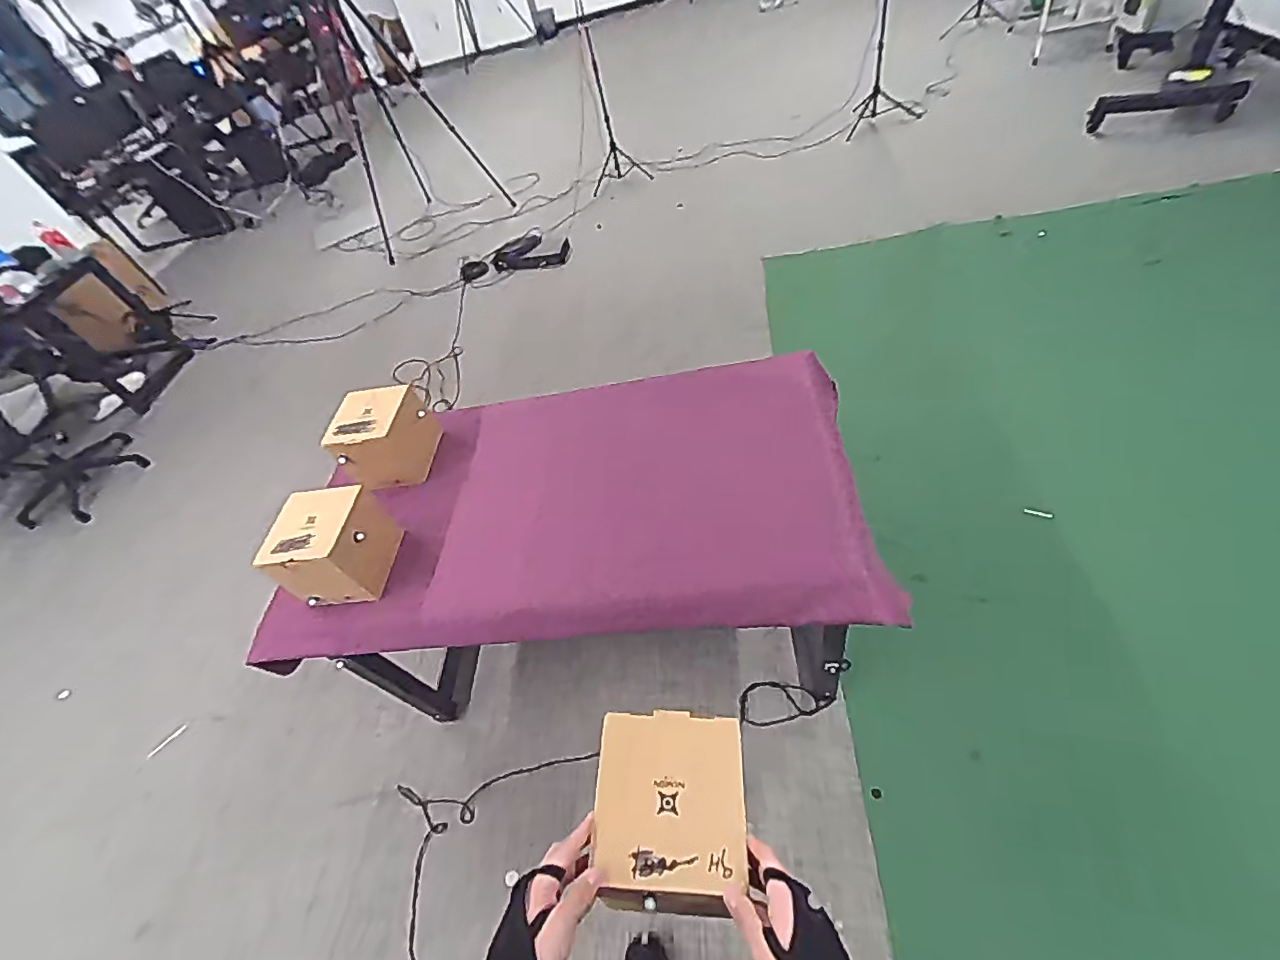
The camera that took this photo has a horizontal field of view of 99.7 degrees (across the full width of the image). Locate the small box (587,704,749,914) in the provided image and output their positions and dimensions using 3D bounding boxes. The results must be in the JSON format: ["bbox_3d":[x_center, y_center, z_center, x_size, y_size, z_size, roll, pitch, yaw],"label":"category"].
[{"bbox_3d":[0.038,0.396,0.653,0.168,0.176,0.179,0,45,6],"label":"small box"}]

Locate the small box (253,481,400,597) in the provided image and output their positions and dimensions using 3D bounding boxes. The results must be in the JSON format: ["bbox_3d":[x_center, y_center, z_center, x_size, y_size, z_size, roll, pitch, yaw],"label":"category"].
[{"bbox_3d":[-0.622,0.127,1.101,0.168,0.176,0.179,-6,49,10],"label":"small box"}]
